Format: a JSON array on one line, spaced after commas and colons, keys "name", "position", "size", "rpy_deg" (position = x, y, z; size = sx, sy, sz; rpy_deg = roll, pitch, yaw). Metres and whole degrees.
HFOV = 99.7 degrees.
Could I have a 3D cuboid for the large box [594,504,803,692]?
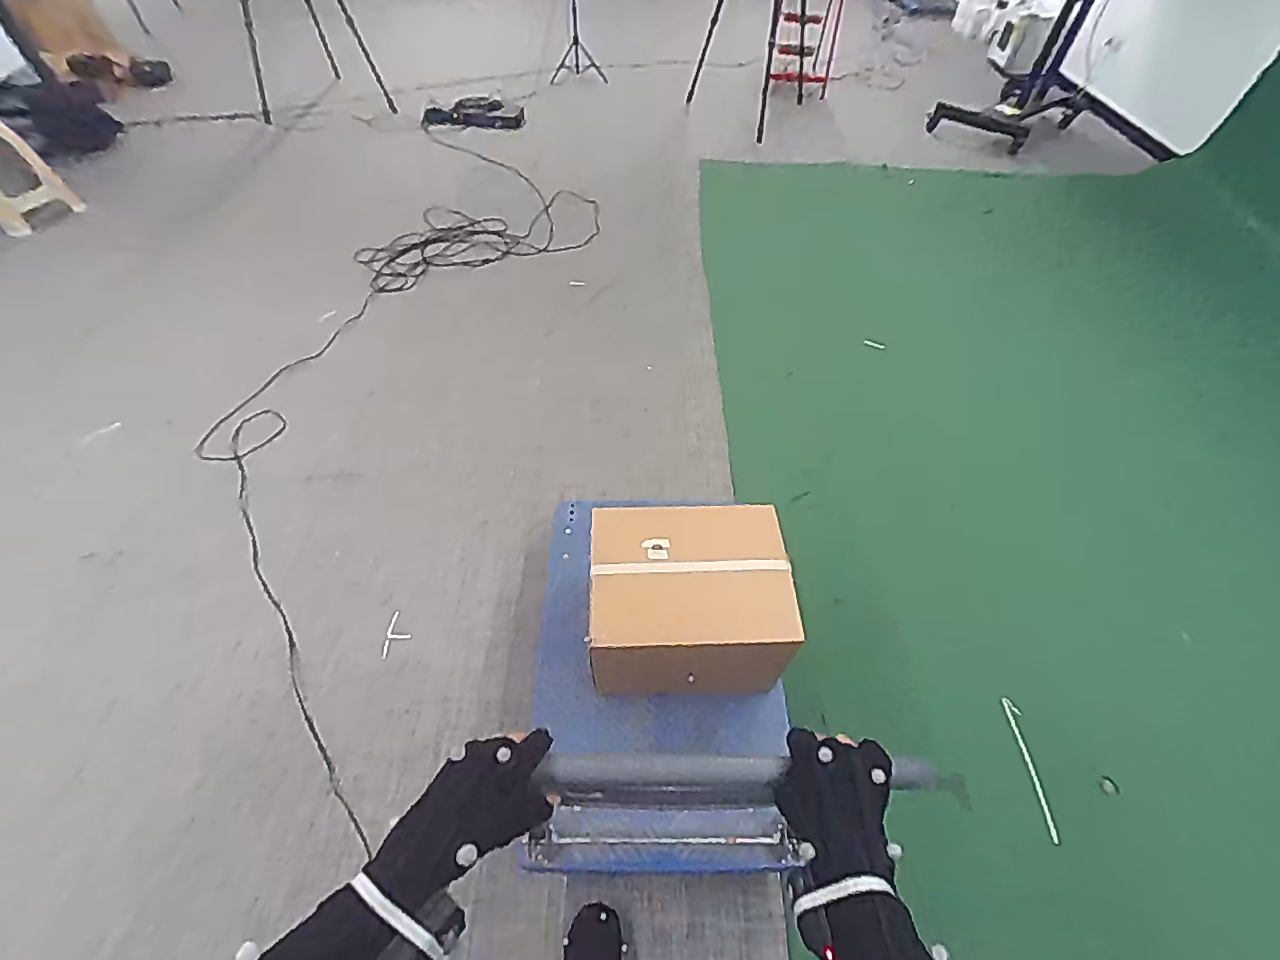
[{"name": "large box", "position": [0.108, 0.275, 1.229], "size": [0.408, 0.320, 0.320], "rpy_deg": [-3, 52, -1]}]
